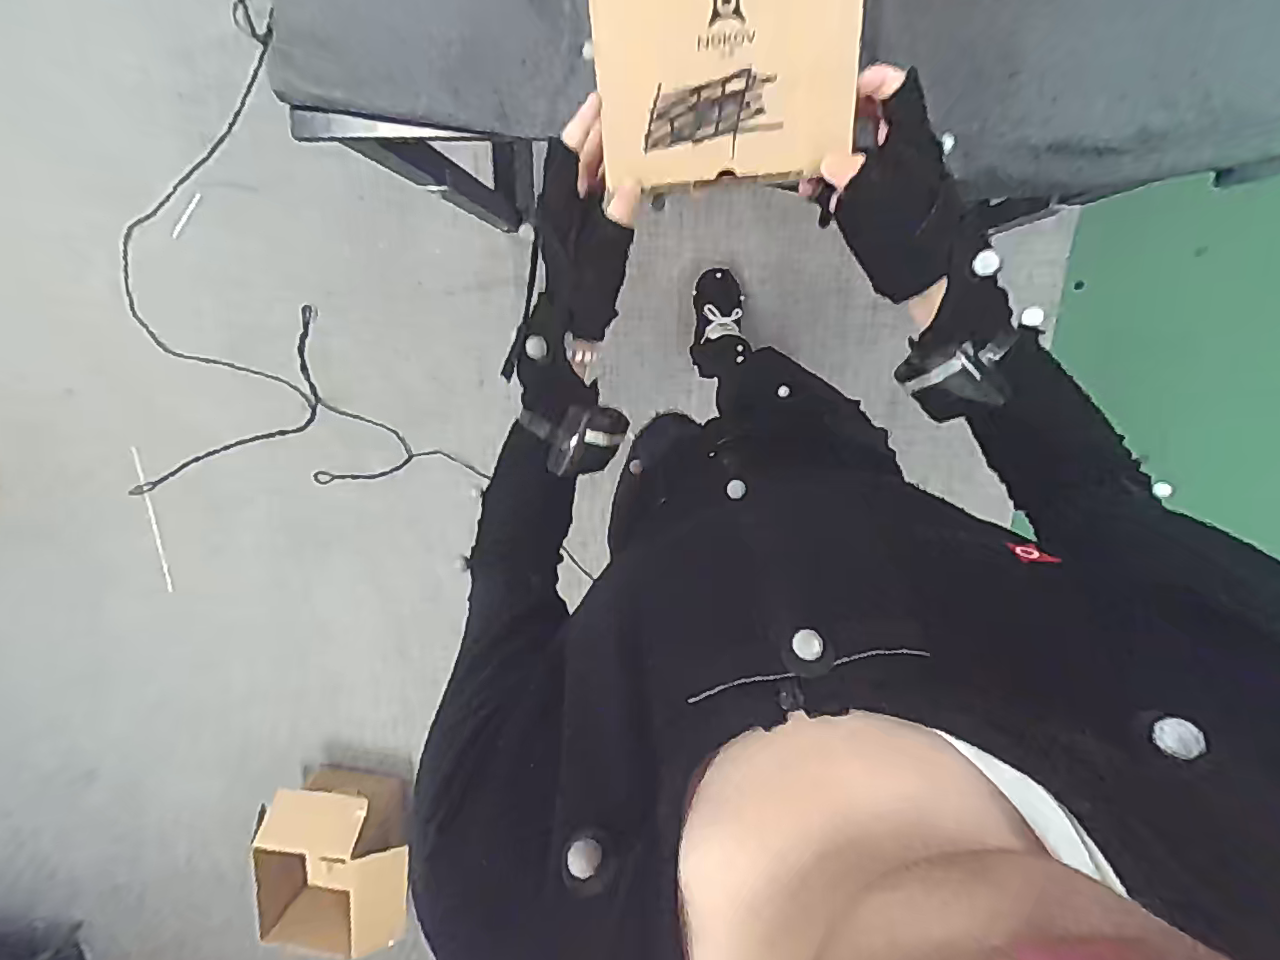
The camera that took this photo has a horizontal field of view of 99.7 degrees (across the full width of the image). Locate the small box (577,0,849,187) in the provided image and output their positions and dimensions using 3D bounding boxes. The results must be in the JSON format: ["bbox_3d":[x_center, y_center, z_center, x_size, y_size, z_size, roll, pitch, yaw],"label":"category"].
[{"bbox_3d":[0.050,-0.321,0.400,0.168,0.176,0.179,-2,116,5],"label":"small box"}]
